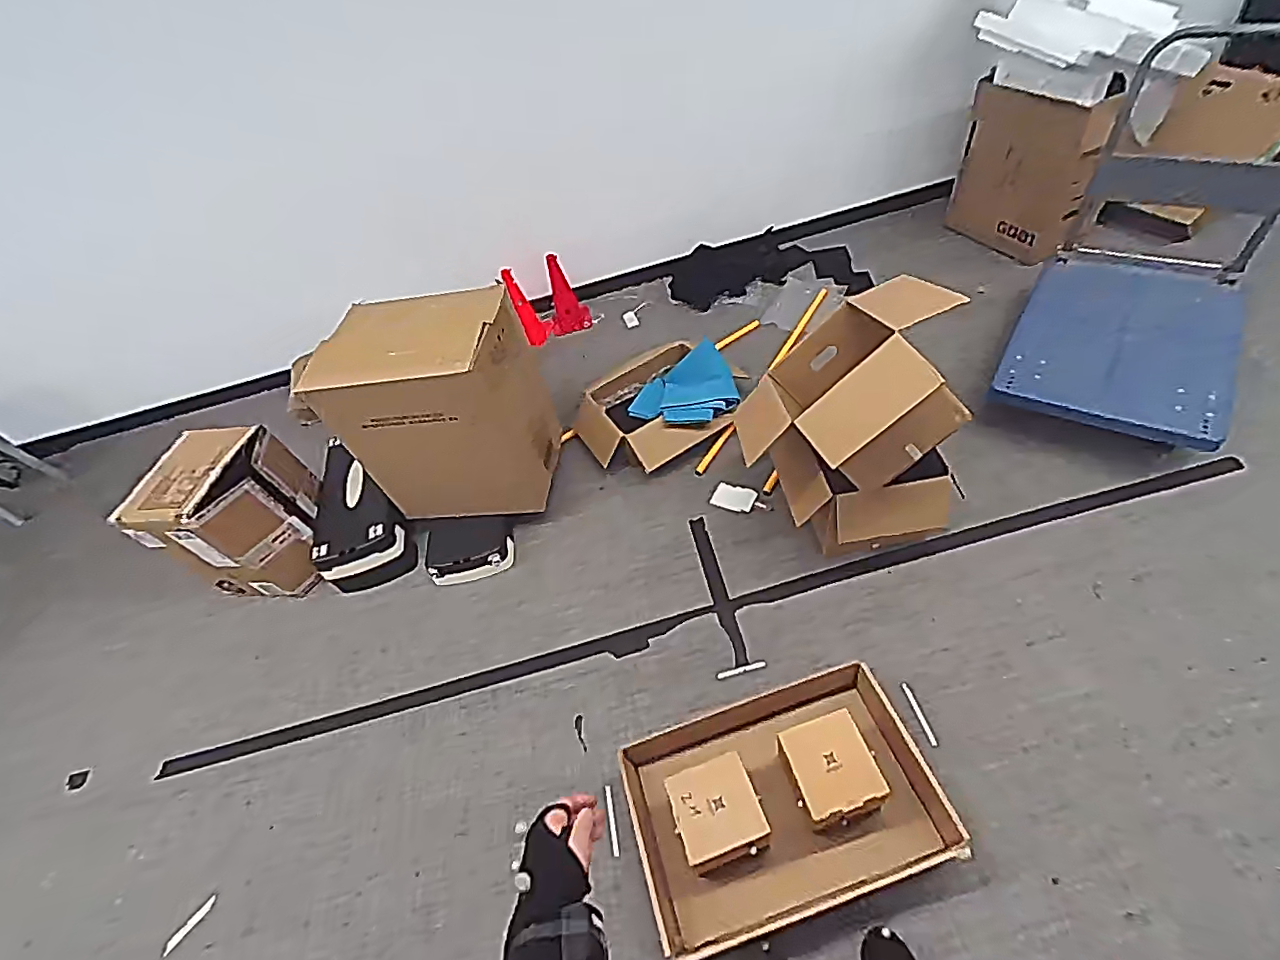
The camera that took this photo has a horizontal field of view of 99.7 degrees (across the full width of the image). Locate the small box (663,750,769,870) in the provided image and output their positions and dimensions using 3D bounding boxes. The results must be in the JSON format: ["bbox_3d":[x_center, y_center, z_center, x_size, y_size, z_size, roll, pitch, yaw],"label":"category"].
[{"bbox_3d":[0.165,0.719,1.176,0.179,0.176,0.168,-20,48,-4],"label":"small box"}]

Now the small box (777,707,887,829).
[{"bbox_3d":[0.410,0.636,1.189,0.168,0.176,0.179,-19,49,-2],"label":"small box"}]
